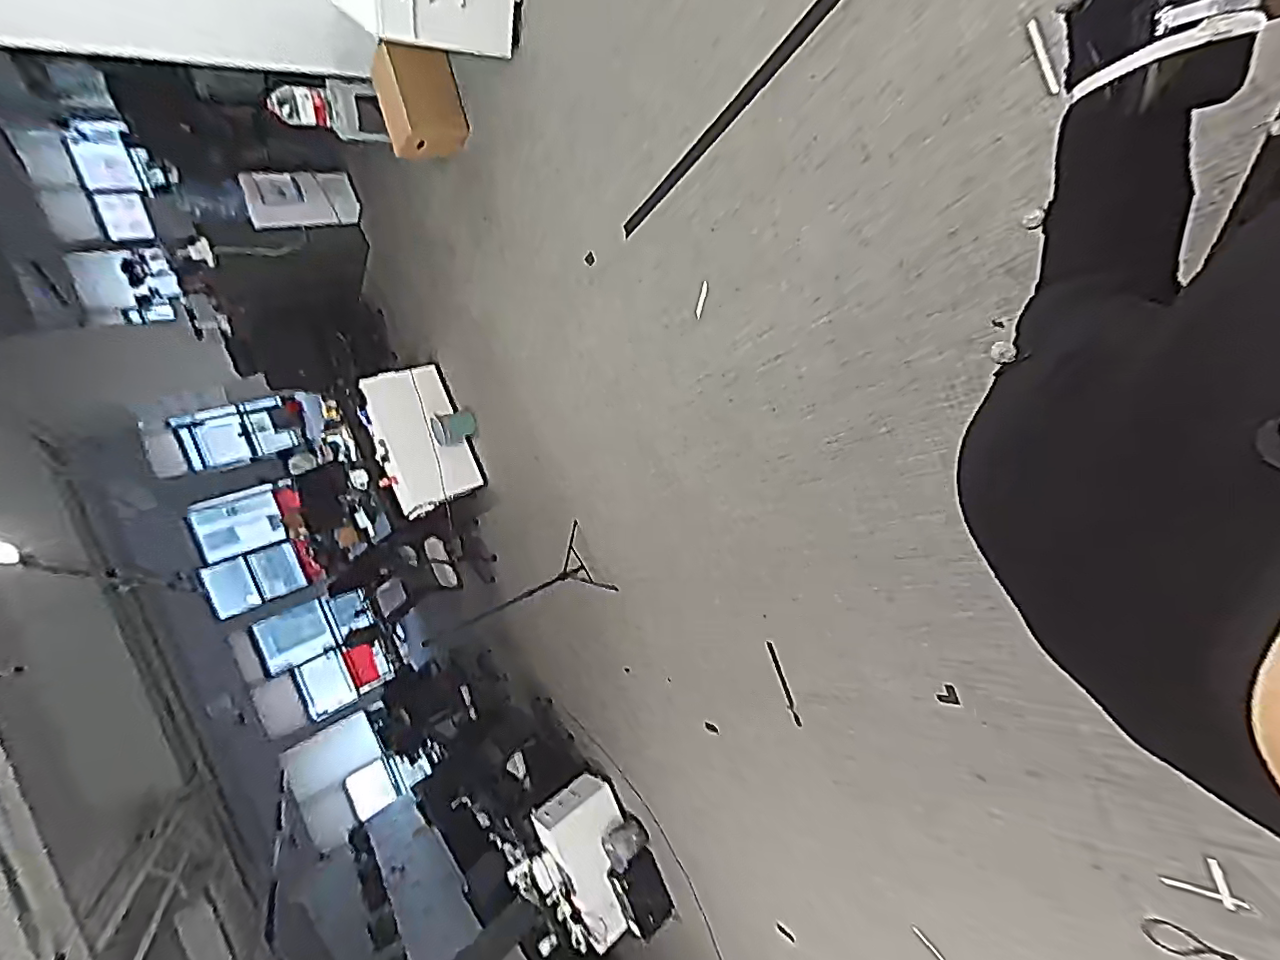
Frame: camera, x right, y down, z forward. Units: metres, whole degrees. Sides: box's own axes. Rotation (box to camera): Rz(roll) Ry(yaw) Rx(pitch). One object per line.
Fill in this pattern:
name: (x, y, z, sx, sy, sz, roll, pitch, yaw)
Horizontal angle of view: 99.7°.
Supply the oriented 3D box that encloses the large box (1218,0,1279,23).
large box: (0.543, -0.495, 0.231, 0.408, 0.320, 0.320, 7, 120, 51)
